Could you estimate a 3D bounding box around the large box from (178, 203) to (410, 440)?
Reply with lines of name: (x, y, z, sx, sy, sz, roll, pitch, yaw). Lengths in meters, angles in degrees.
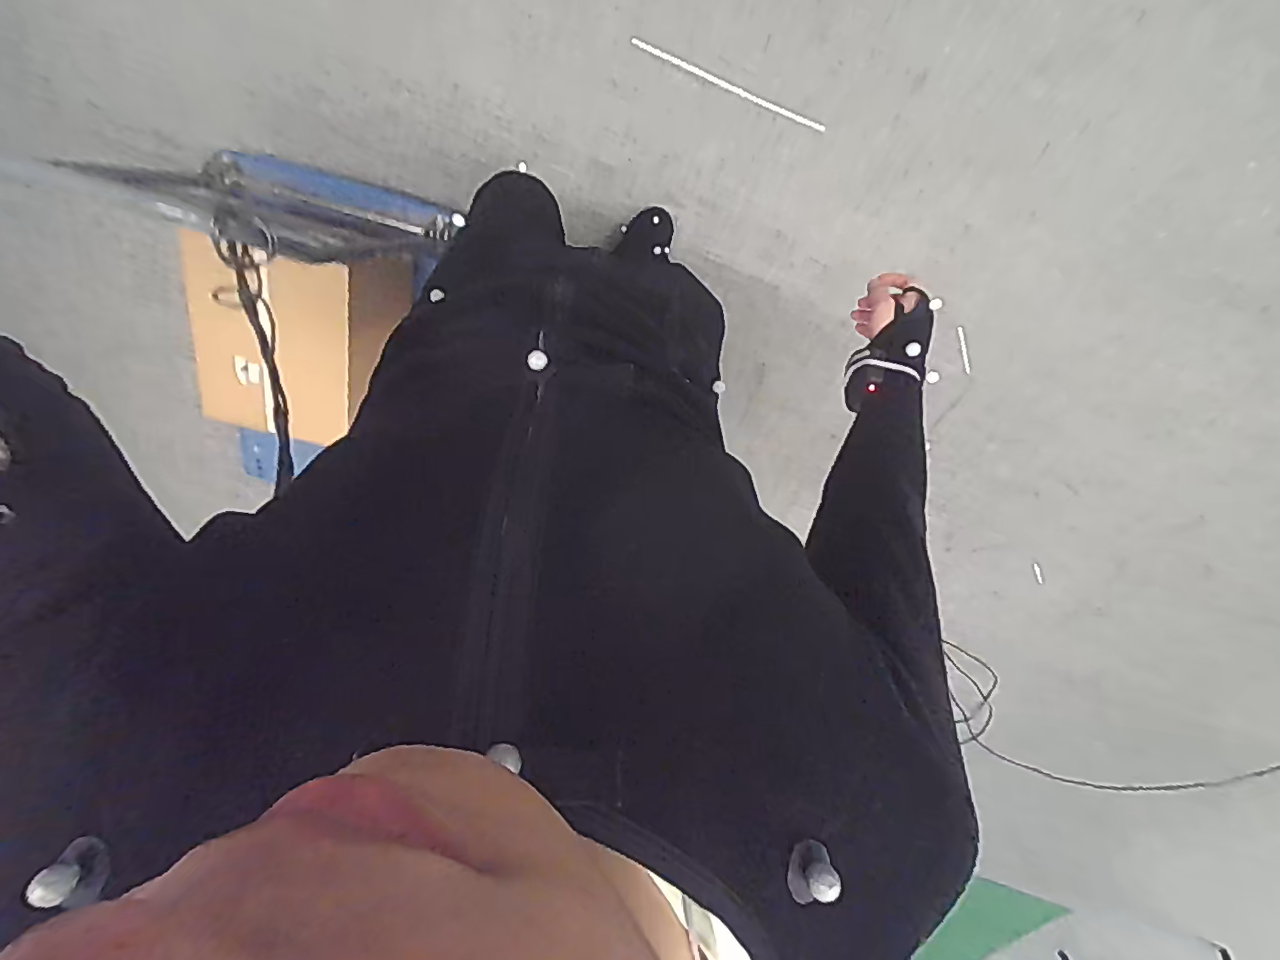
large box: (-0.737, -0.363, 1.216, 0.320, 0.320, 0.408, 15, 119, -6)
